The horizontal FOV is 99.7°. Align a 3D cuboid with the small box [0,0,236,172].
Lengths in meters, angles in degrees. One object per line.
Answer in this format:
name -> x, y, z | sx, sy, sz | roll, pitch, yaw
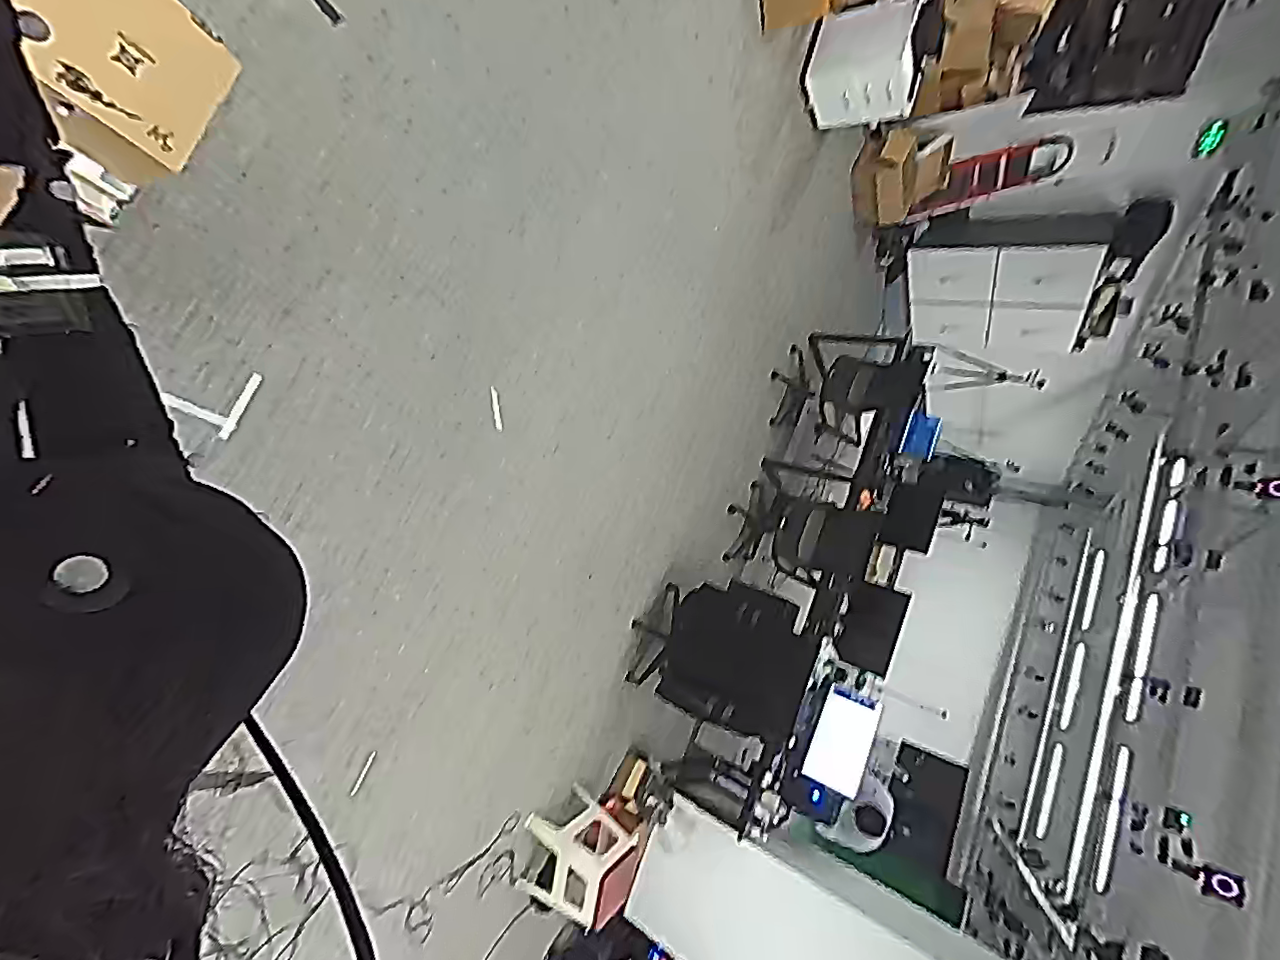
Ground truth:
small box -> -0.643, -0.503, 0.645 | 0.168, 0.176, 0.179 | 38, 69, -57
